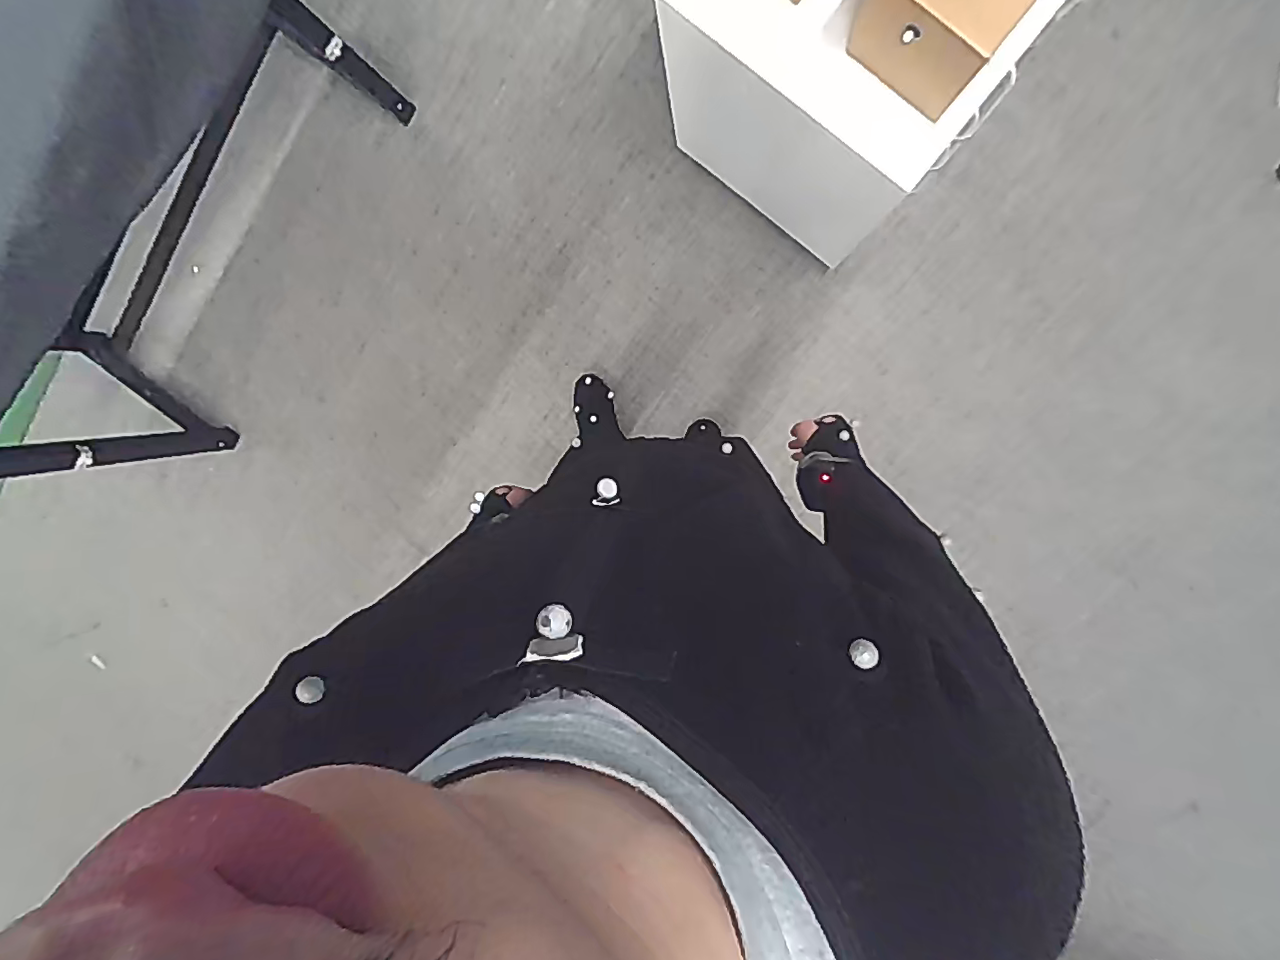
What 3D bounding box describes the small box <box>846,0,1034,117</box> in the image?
[{"bbox_3d":[0.408,-0.636,0.719,0.179,0.176,0.168,38,101,-1],"label":"small box"}]
